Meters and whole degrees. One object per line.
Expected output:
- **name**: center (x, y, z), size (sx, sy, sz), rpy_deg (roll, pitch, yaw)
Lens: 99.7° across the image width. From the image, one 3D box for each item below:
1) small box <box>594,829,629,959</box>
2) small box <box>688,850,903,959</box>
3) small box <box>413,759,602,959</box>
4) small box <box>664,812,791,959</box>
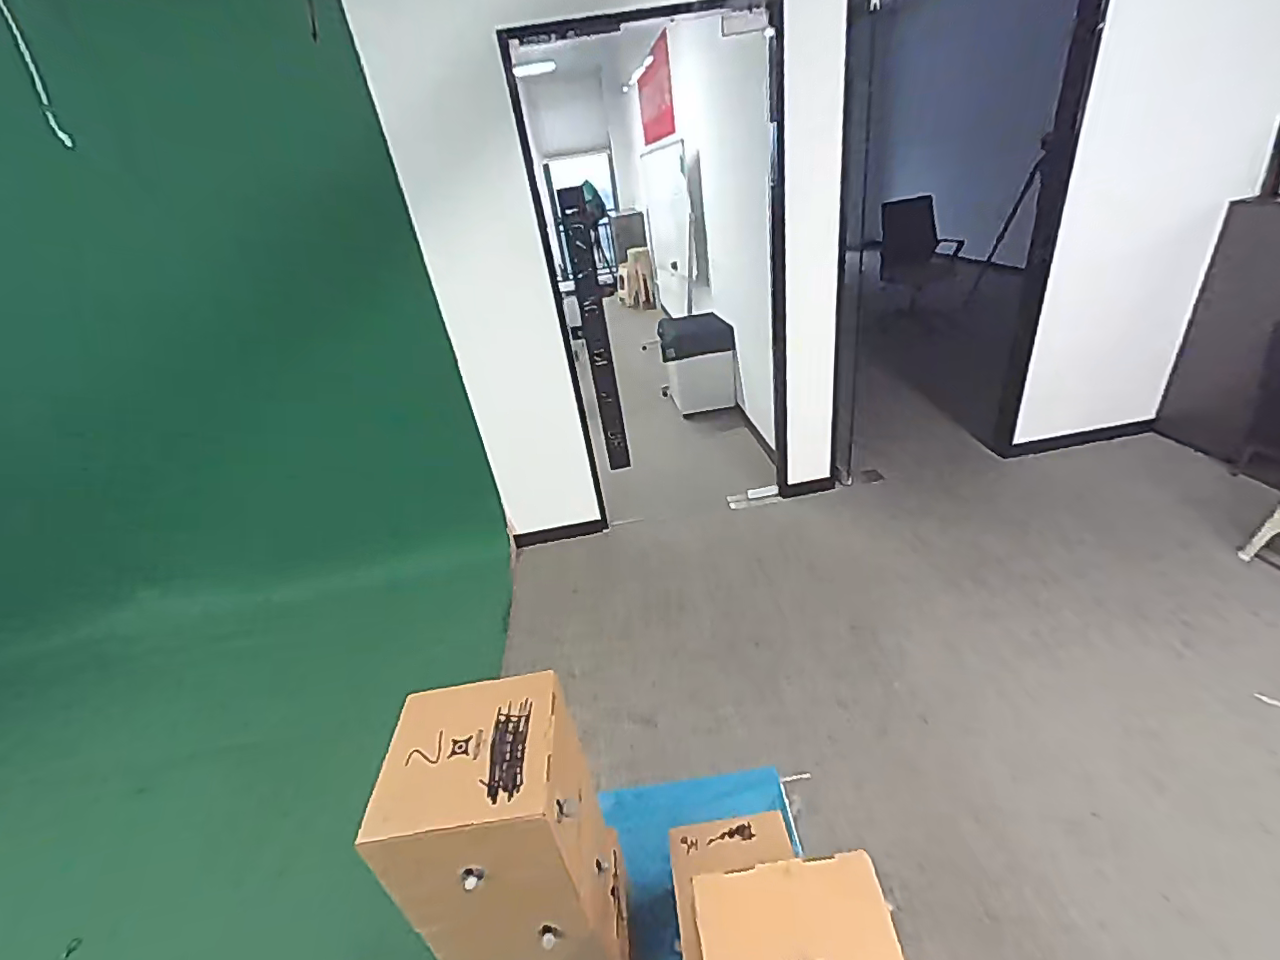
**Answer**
- **small box**: center (-0.110, 0.617, 0.738), size (0.179, 0.176, 0.168), rpy_deg (-10, 28, 0)
- **small box**: center (0.139, 0.461, 0.481), size (0.168, 0.176, 0.179), rpy_deg (-8, 43, -1)
- **small box**: center (-0.142, 0.477, 0.658), size (0.179, 0.176, 0.168), rpy_deg (-9, 28, 0)
- **small box**: center (0.131, 0.588, 0.722), size (0.168, 0.176, 0.179), rpy_deg (-9, 29, 0)
